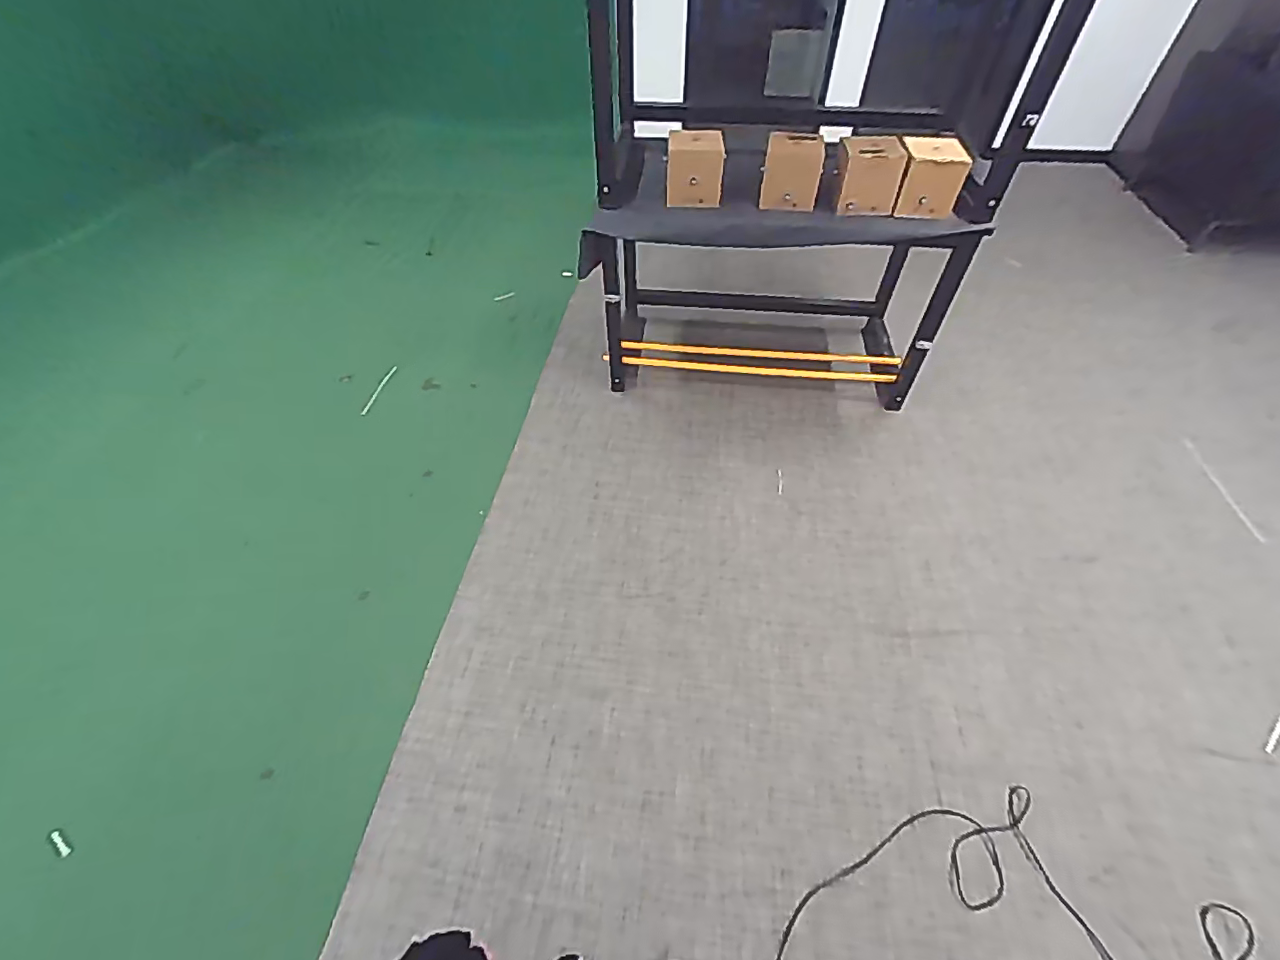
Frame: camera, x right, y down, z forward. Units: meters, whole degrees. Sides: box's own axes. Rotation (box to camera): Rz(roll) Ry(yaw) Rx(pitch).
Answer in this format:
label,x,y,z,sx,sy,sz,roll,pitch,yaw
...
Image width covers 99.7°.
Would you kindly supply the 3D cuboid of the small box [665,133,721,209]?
label,x,y,z,sx,sy,sz,roll,pitch,yaw
small box,0.165,-0.976,1.709,0.168,0.176,0.179,1,48,1
